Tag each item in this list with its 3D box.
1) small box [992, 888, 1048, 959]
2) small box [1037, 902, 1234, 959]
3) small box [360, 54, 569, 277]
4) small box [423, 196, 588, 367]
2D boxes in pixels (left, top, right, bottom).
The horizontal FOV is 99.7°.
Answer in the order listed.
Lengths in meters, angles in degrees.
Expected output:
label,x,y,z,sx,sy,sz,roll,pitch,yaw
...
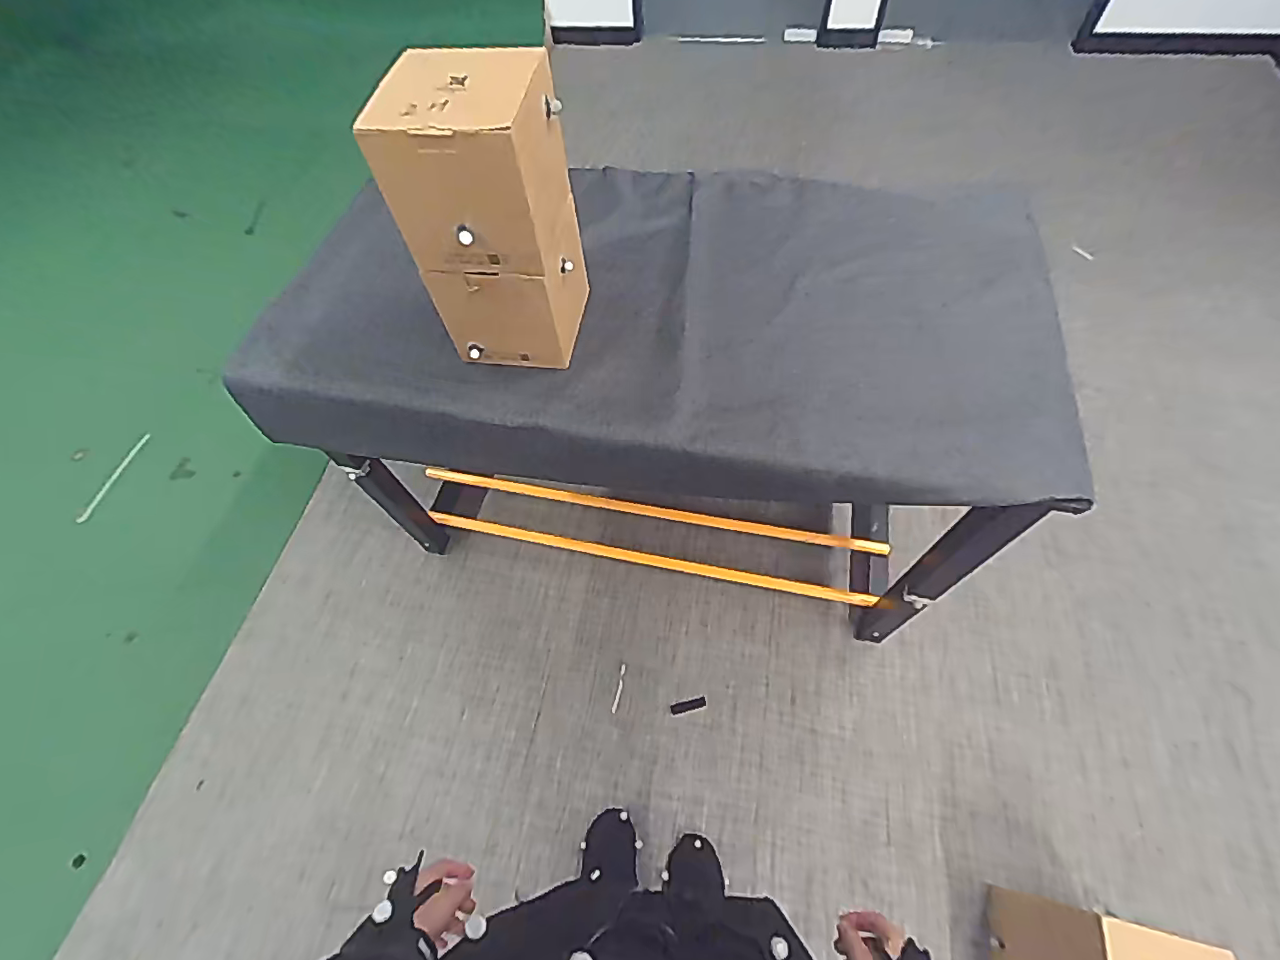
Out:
label,x,y,z,sx,sy,sz,roll,pitch,yaw
small box,0.721,0.826,0.909,0.168,0.176,0.179,11,62,10
small box,0.707,0.740,0.771,0.168,0.176,0.179,10,60,9
small box,-0.186,-0.369,0.640,0.168,0.176,0.179,3,60,6
small box,-0.177,-0.283,0.781,0.168,0.176,0.179,6,59,7
